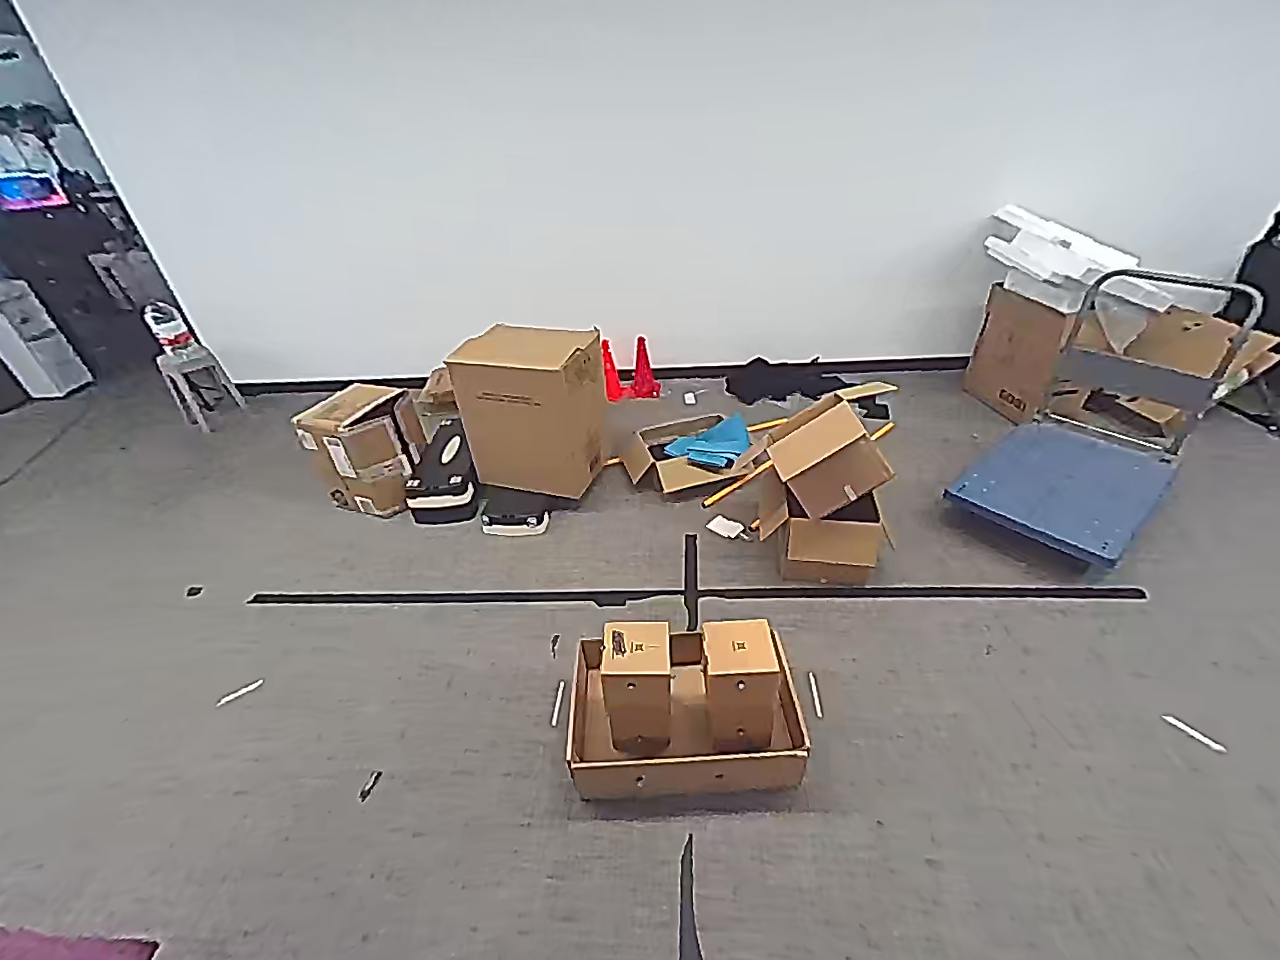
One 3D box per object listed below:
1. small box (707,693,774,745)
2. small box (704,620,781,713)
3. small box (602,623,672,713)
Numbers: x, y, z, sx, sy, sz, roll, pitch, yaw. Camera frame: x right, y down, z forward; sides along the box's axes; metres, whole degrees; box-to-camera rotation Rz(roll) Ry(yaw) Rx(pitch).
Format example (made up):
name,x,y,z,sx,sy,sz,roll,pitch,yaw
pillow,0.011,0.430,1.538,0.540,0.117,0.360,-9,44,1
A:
name,x,y,z,sx,sy,sz,roll,pitch,yaw
small box,0.278,0.625,1.523,0.168,0.176,0.179,-3,34,2
small box,0.263,0.494,1.429,0.179,0.176,0.168,-5,35,3
small box,-0.004,0.502,1.444,0.179,0.176,0.168,-1,35,1
